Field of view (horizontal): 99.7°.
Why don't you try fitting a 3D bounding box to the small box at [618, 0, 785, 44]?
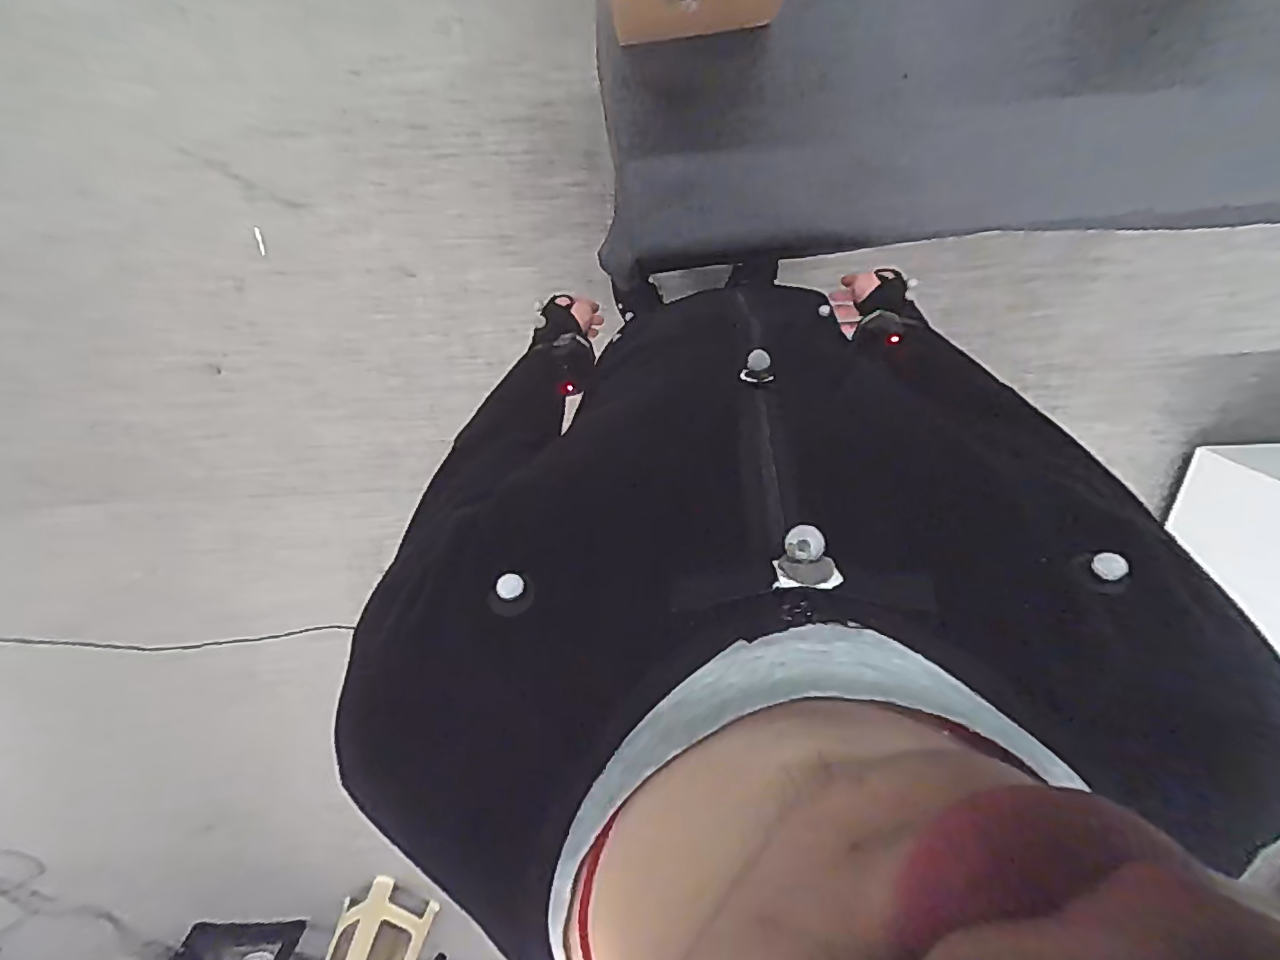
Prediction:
[{"bbox_3d":[0.059,-0.536,0.499,0.179,0.176,0.168,-7,114,1],"label":"small box"}]
